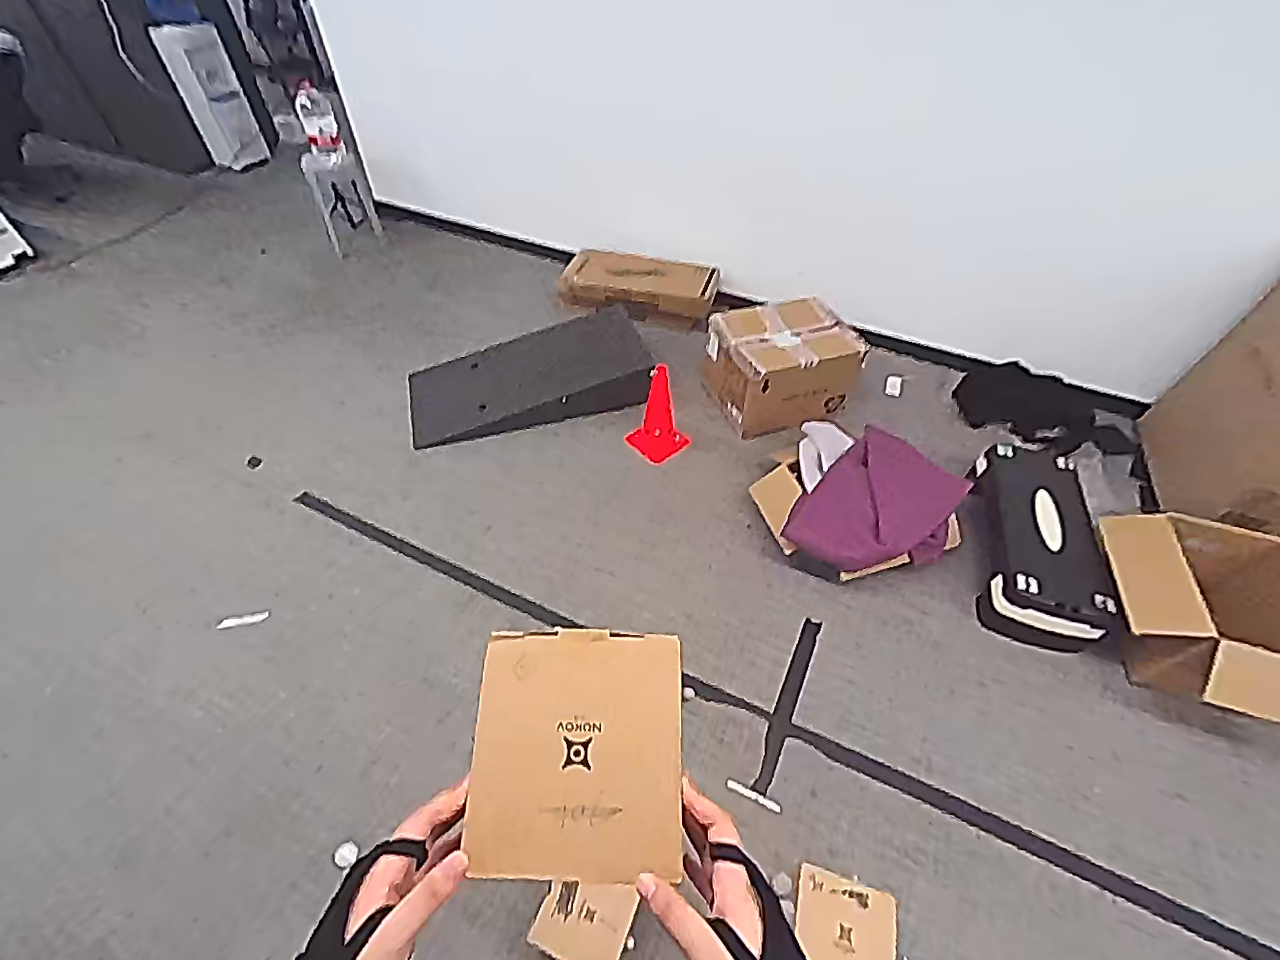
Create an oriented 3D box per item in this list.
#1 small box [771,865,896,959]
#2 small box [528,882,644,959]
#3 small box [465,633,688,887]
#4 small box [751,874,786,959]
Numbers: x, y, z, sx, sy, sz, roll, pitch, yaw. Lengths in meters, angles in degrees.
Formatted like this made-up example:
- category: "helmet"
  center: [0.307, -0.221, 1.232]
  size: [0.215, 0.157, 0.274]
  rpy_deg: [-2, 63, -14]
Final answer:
- category: "small box"
  center: [0.336, 0.822, 0.957]
  size: [0.168, 0.176, 0.179]
  rpy_deg: [15, 50, 11]
- category: "small box"
  center: [-0.103, 0.892, 1.098]
  size: [0.179, 0.176, 0.168]
  rpy_deg: [19, 50, 14]
- category: "small box"
  center: [-0.043, 0.242, 0.497]
  size: [0.168, 0.176, 0.179]
  rpy_deg: [0, 68, 2]
- category: "small box"
  center: [0.337, 0.926, 1.083]
  size: [0.179, 0.176, 0.168]
  rpy_deg: [16, 49, 12]
